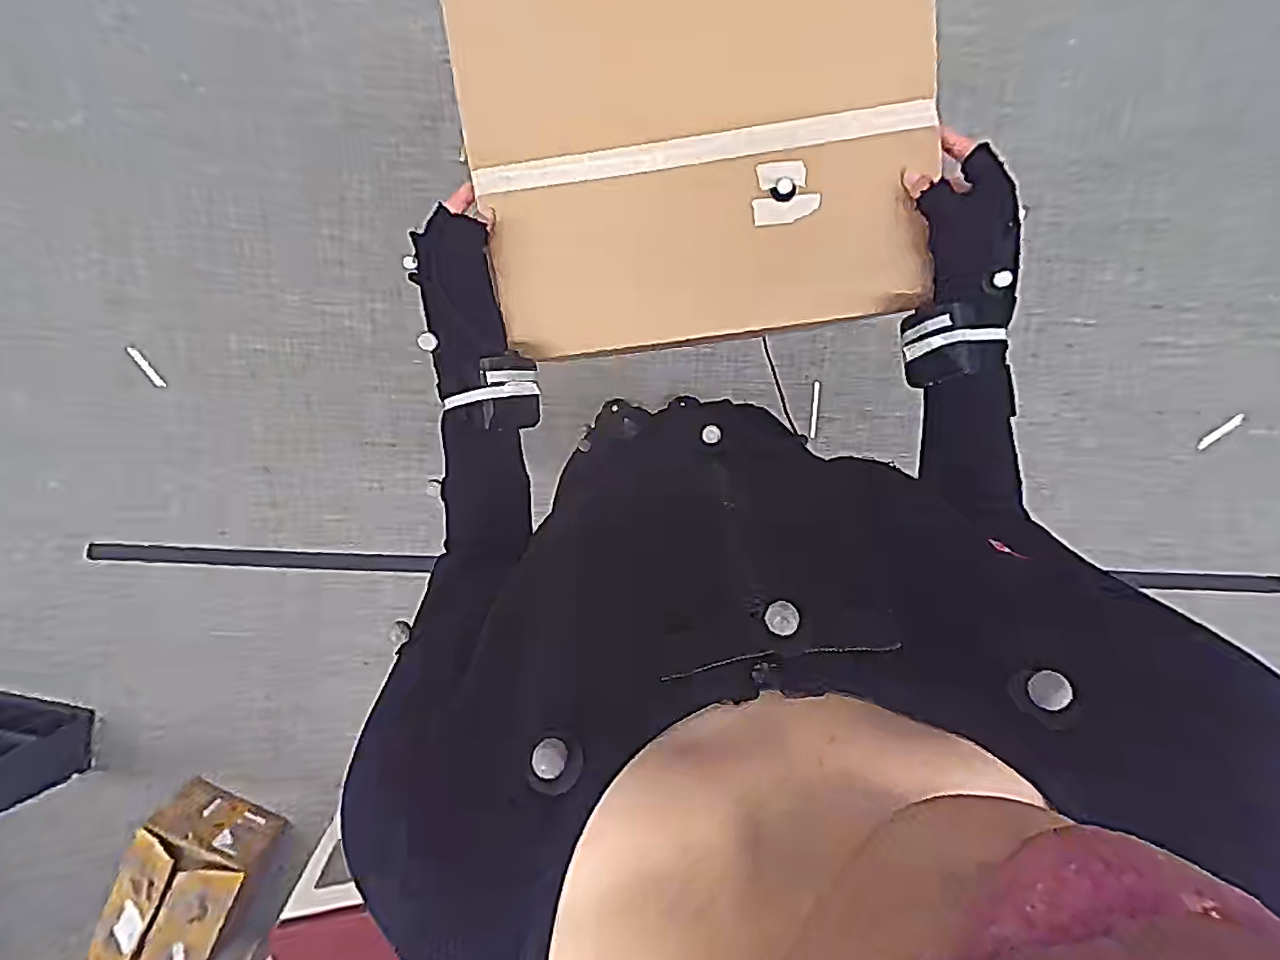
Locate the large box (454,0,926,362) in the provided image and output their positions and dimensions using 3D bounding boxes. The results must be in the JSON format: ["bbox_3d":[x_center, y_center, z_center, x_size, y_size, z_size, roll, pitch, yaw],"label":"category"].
[{"bbox_3d":[0.054,-0.322,0.632,0.408,0.320,0.320,-7,101,2],"label":"large box"}]
